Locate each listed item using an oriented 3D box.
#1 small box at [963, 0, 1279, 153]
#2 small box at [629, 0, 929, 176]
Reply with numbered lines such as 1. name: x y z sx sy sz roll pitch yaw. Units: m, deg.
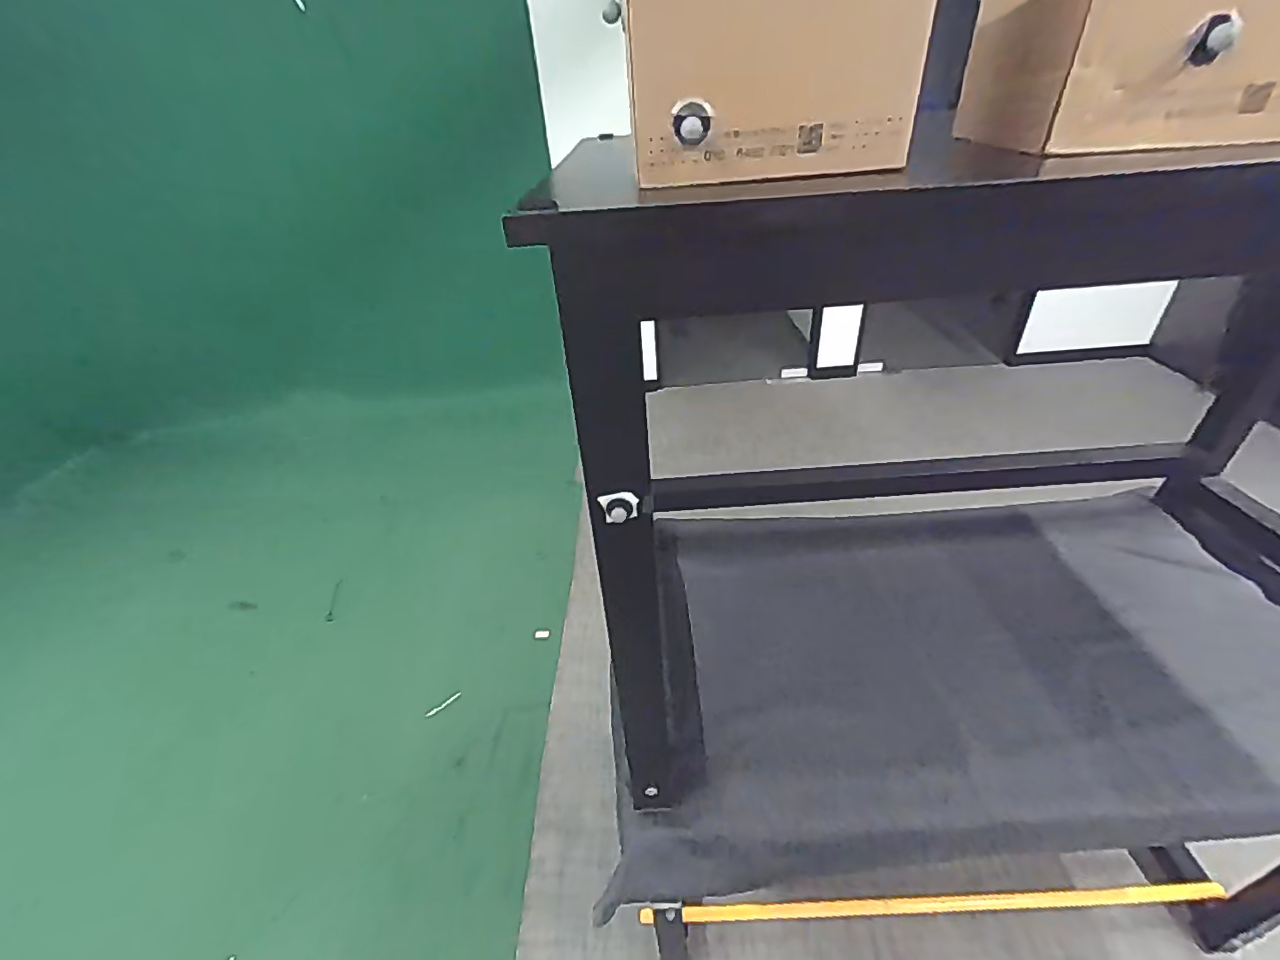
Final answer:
1. small box: 0.341 -0.316 0.350 0.168 0.176 0.179 2 36 8
2. small box: 0.077 -0.303 0.354 0.168 0.176 0.179 -4 34 1
